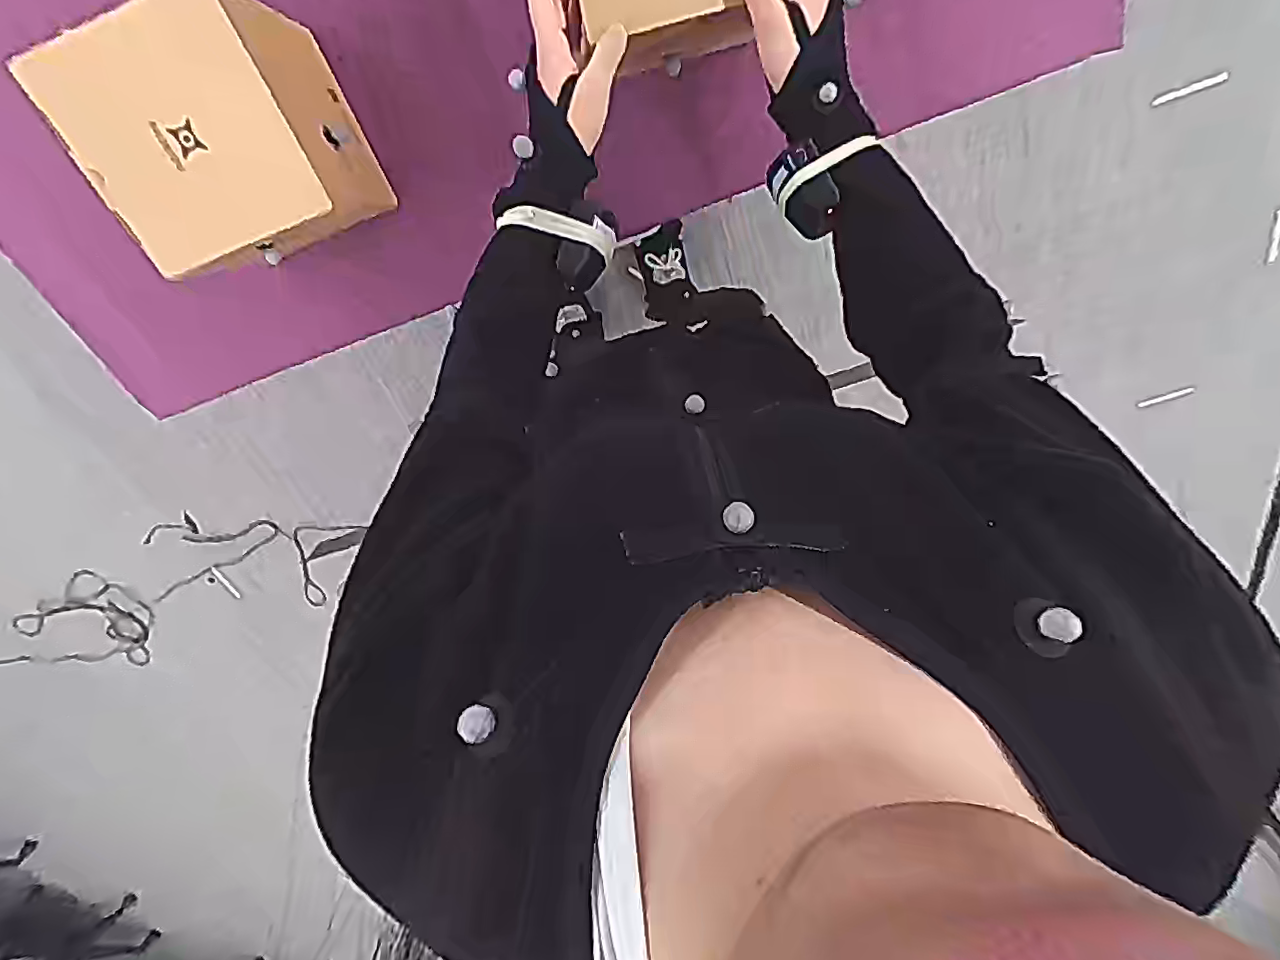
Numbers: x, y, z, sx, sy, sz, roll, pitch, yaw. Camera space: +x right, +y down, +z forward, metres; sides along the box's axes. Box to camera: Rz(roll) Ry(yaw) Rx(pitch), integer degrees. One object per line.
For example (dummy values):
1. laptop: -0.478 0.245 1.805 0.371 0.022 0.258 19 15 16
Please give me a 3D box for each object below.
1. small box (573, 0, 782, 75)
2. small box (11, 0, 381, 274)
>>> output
1. small box: 0.015 -0.465 0.440 0.168 0.176 0.179 -12 119 4
2. small box: -0.372 -0.314 0.503 0.179 0.176 0.168 -18 118 7
